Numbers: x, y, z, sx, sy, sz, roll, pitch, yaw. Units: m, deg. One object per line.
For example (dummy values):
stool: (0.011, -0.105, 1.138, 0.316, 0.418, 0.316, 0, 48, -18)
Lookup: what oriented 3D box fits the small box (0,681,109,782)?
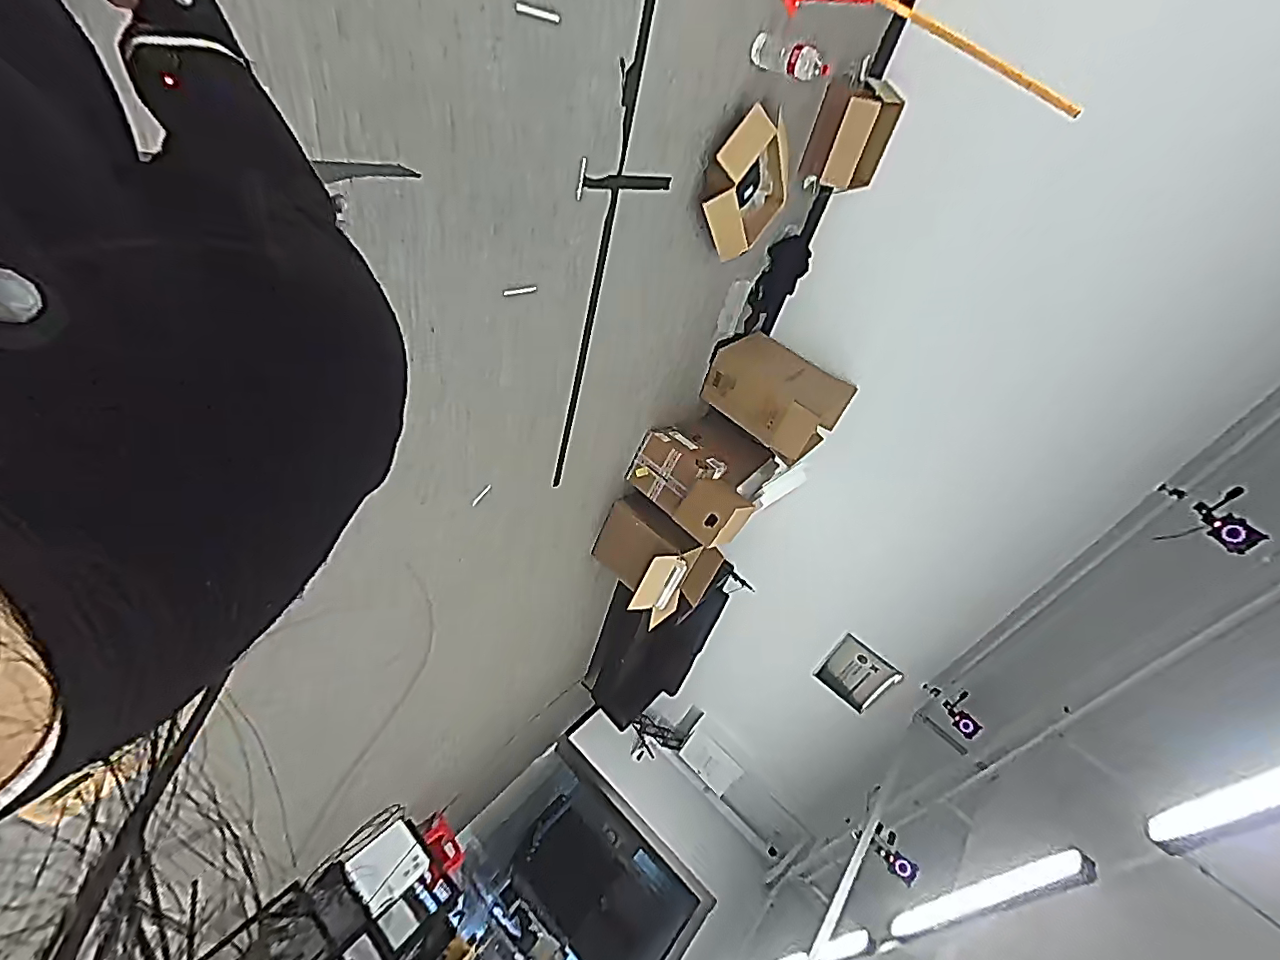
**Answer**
small box: (-1.651, 0.692, 1.500, 0.168, 0.176, 0.179, -39, 153, -35)
